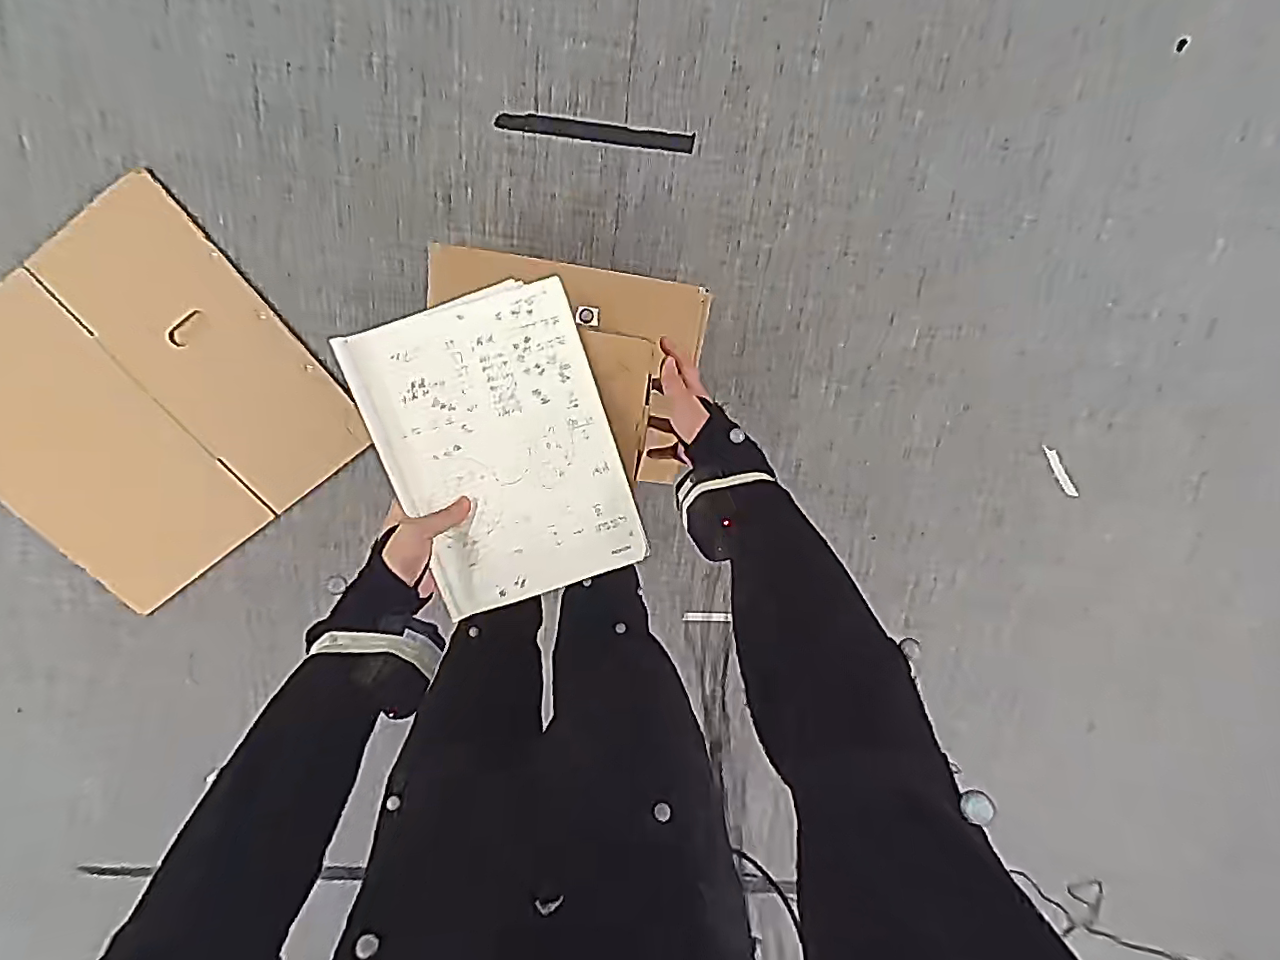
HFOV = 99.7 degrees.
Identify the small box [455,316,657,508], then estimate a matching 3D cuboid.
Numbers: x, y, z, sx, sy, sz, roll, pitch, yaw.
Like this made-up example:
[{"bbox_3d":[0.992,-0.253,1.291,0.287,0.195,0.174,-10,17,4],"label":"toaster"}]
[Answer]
[{"bbox_3d":[-0.088,-0.079,0.582,0.179,0.176,0.168,6,104,-6],"label":"small box"}]
